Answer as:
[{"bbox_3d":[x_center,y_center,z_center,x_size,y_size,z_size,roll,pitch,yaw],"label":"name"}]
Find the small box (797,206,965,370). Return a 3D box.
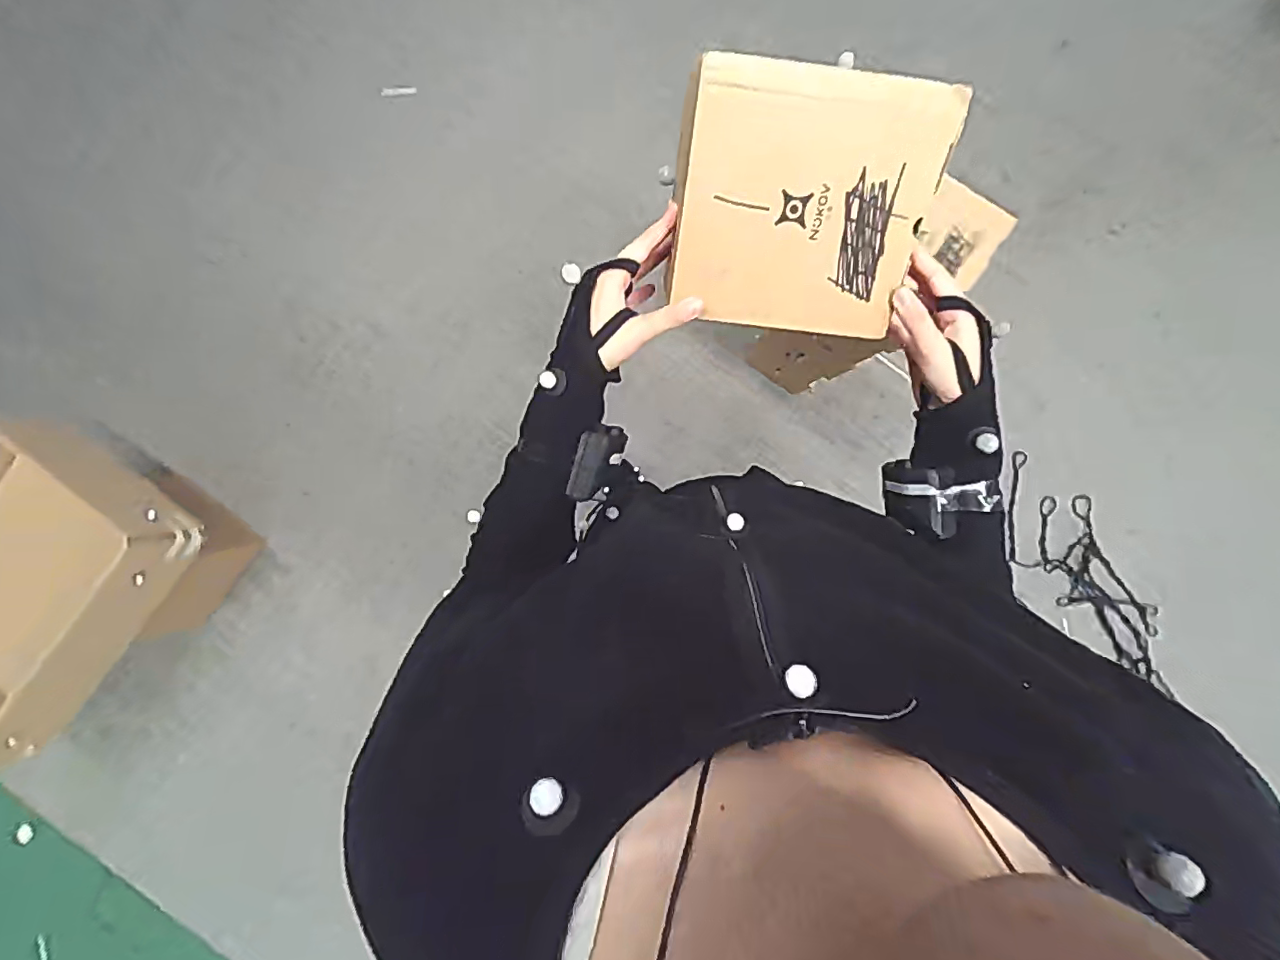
[{"bbox_3d":[0.392,-0.312,0.920,0.168,0.176,0.179,36,93,2],"label":"small box"}]

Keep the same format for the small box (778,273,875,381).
[{"bbox_3d":[0.405,-0.315,1.082,0.179,0.176,0.168,36,93,0],"label":"small box"}]

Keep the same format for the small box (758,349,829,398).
[{"bbox_3d":[0.430,-0.329,1.408,0.179,0.176,0.168,38,92,0],"label":"small box"}]

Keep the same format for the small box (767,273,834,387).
[{"bbox_3d":[0.417,-0.333,1.244,0.179,0.176,0.168,38,93,1],"label":"small box"}]
